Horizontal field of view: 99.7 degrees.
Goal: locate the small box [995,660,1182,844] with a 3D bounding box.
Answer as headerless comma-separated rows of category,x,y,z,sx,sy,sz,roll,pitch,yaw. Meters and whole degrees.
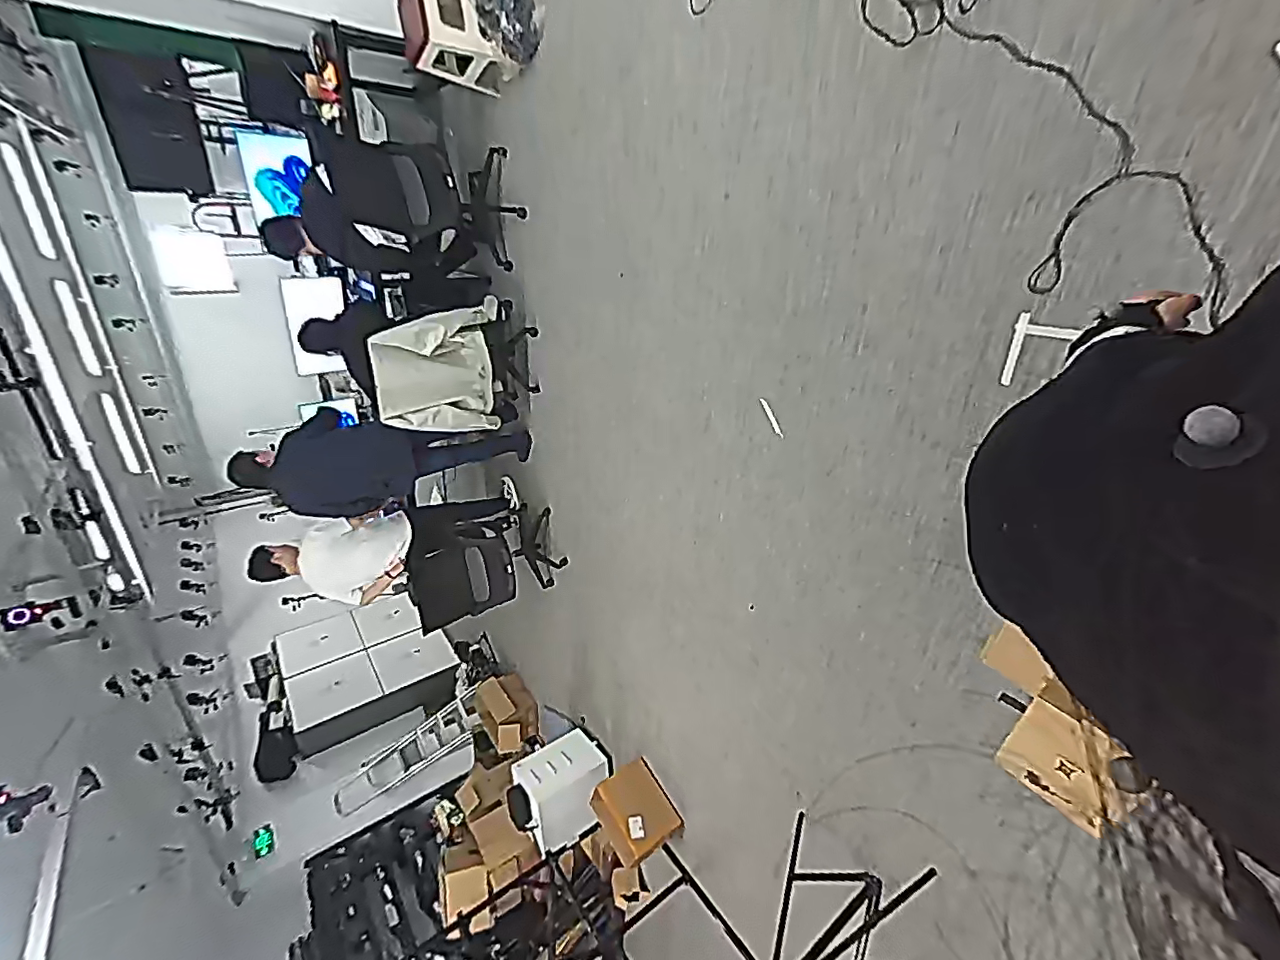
small box,0.732,0.431,0.885,0.168,0.176,0.179,37,131,42
